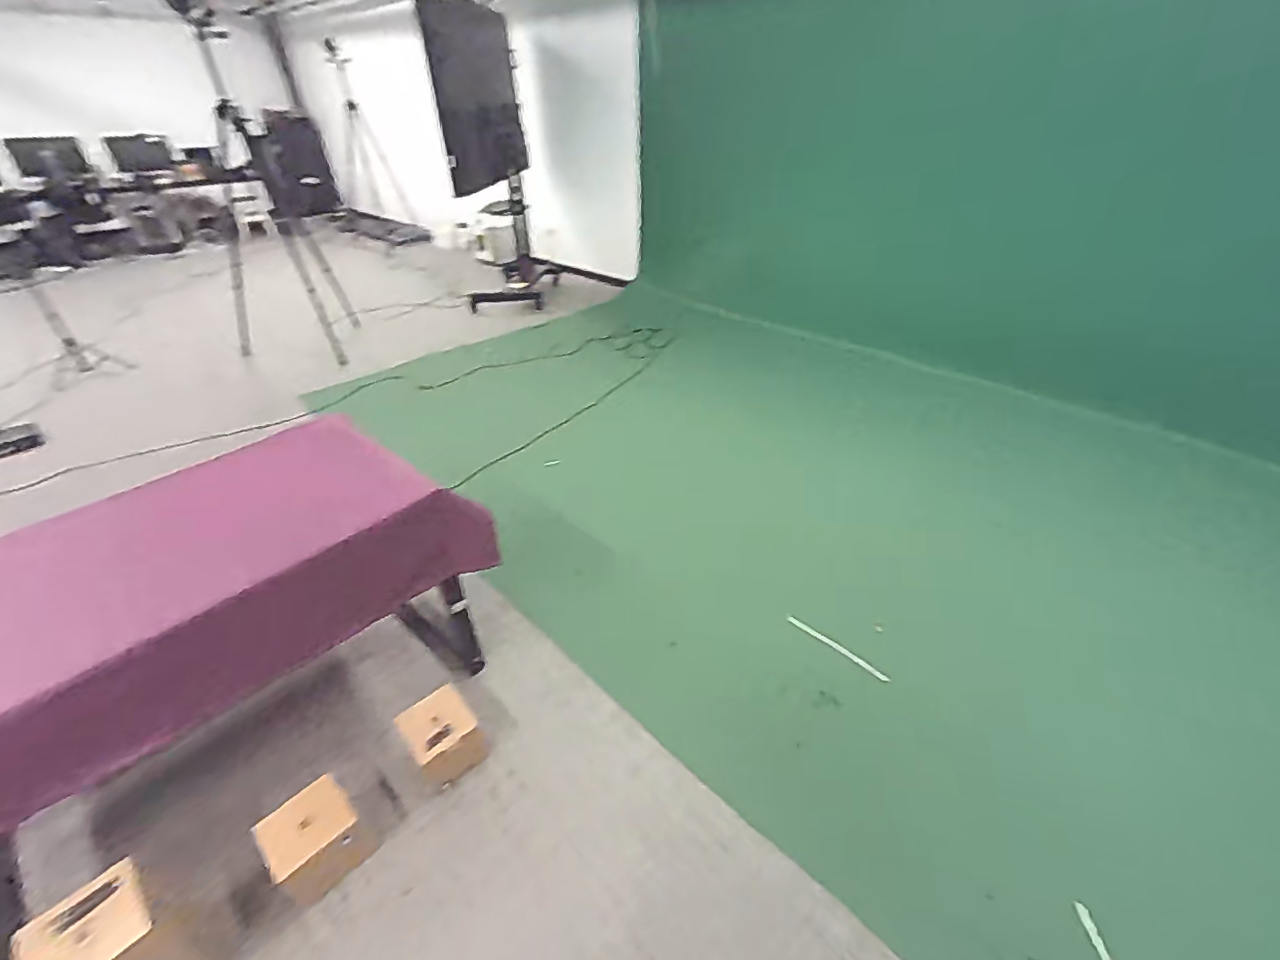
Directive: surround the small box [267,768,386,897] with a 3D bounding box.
[{"bbox_3d":[-0.759,0.862,1.320,0.168,0.176,0.179,28,45,34],"label":"small box"}]
